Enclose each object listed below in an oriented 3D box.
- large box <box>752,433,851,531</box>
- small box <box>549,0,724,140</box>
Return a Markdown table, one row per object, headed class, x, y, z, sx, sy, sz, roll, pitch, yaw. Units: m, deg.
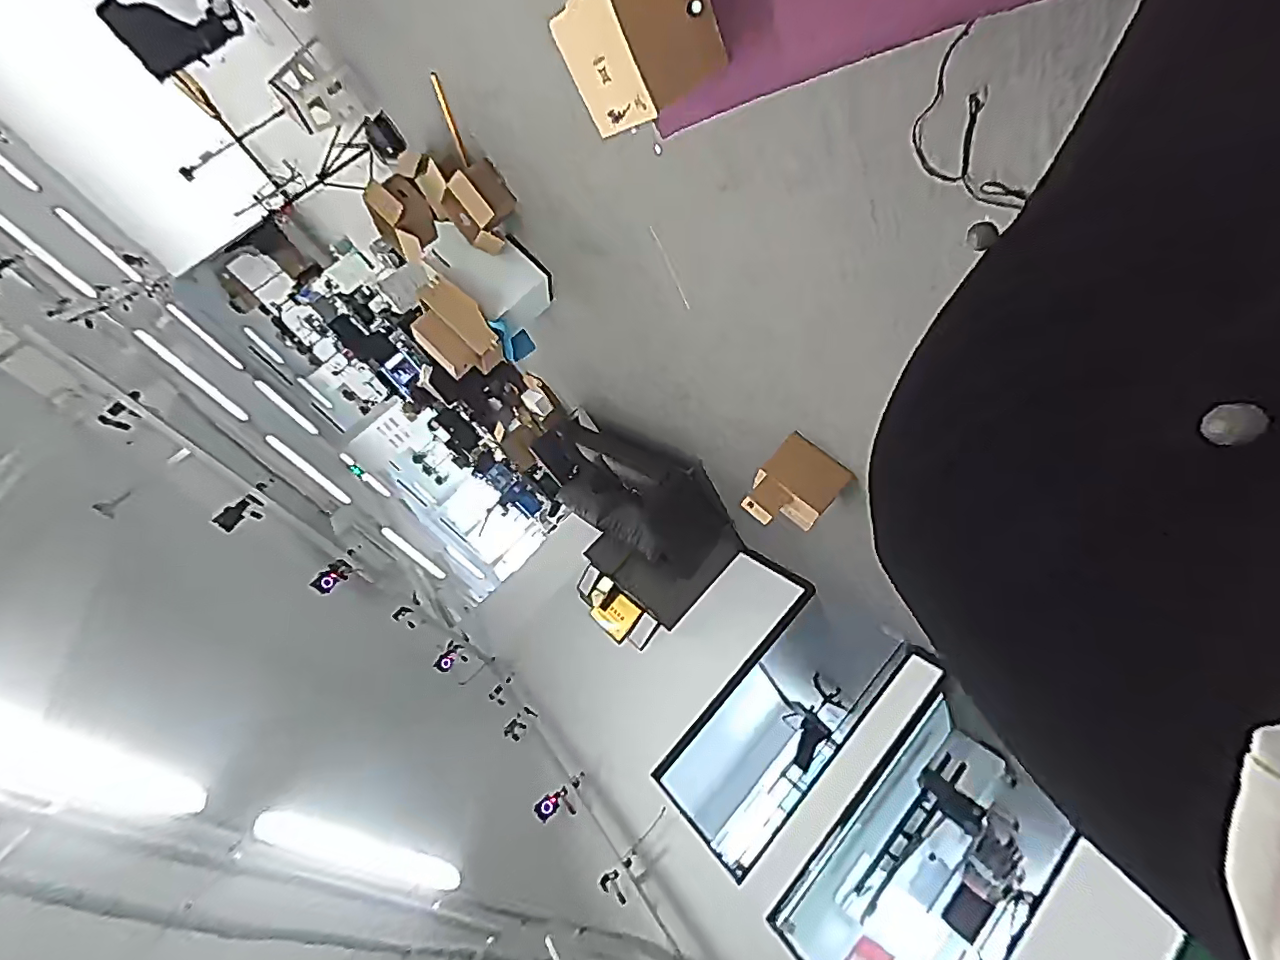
| class | x | y | z | sx | sy | sz | roll | pitch | yaw |
| --- | --- | --- | --- | --- | --- | --- | --- | --- | --- |
| large box | 0.899 | 0.011 | 3.047 | 0.408 | 0.320 | 0.320 | 39 | 166 | 18 |
| small box | -0.002 | -0.671 | 0.837 | 0.168 | 0.176 | 0.179 | 28 | 157 | 51 |
